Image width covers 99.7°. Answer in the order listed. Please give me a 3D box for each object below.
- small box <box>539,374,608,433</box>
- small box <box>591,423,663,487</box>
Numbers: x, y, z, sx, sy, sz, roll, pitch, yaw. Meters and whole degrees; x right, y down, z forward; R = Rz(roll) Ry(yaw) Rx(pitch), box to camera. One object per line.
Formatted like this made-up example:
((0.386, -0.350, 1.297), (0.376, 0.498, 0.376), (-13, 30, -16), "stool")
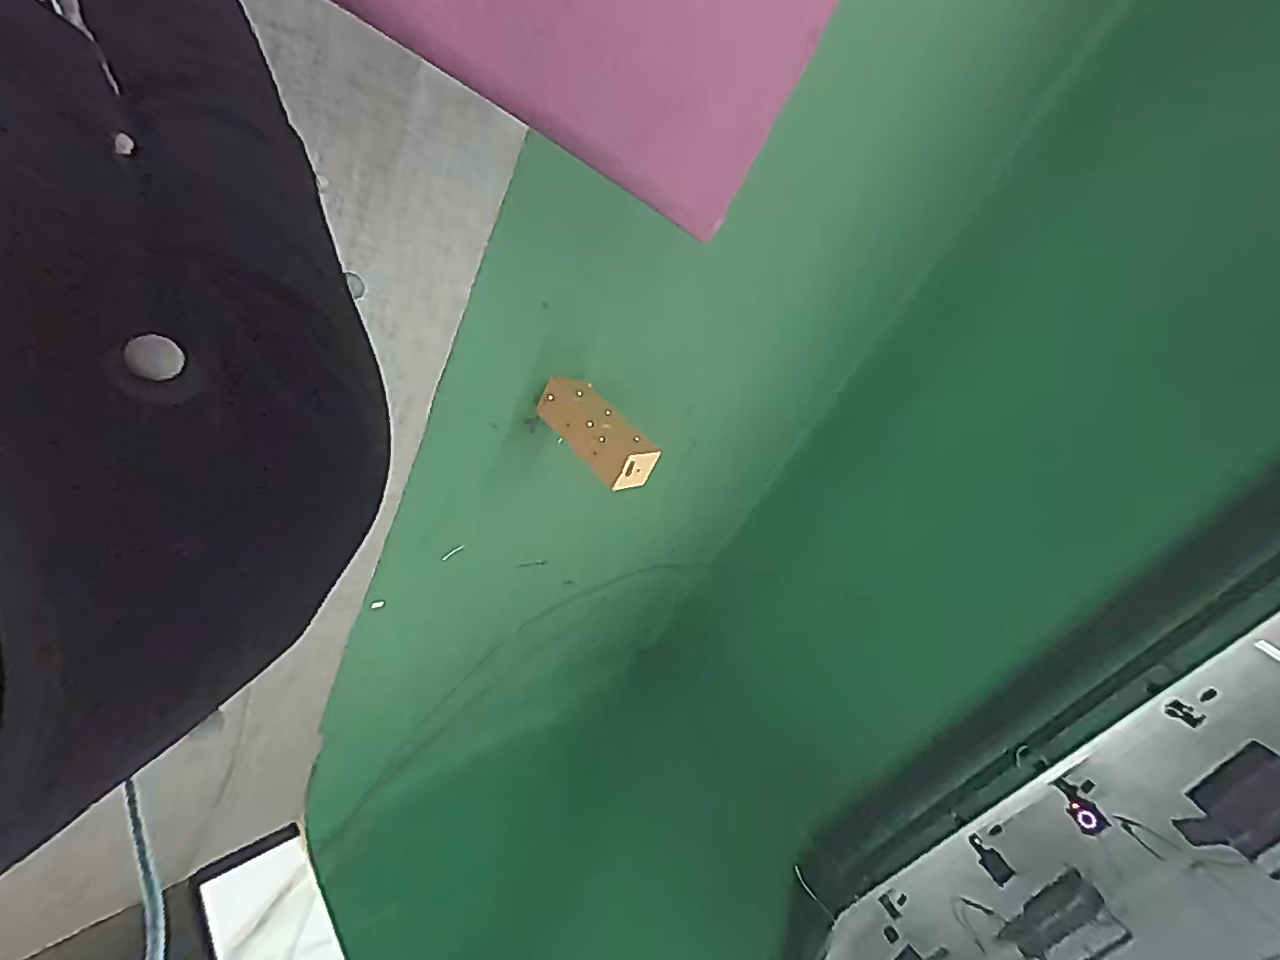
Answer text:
((-0.266, -0.303, 2.146), (0.179, 0.176, 0.168), (-3, 131, -50), "small box")
((-0.053, -0.097, 2.001), (0.179, 0.176, 0.168), (-11, 138, -48), "small box")
